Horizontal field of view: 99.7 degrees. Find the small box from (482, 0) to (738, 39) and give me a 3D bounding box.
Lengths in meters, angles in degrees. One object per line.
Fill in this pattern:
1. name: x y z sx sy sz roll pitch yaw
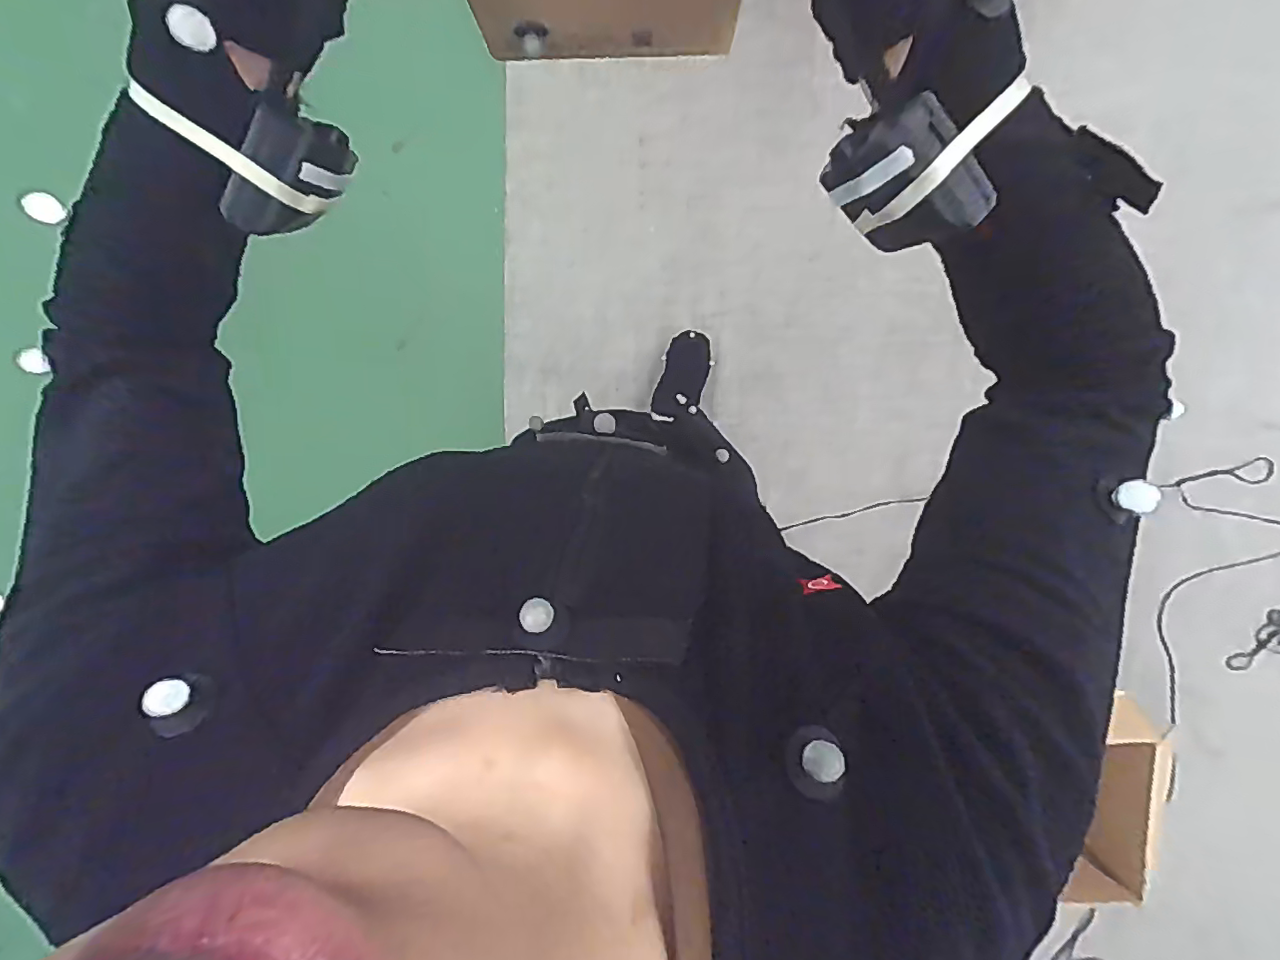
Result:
1. small box: -0.021 -0.363 0.269 0.168 0.176 0.179 -1 96 0
